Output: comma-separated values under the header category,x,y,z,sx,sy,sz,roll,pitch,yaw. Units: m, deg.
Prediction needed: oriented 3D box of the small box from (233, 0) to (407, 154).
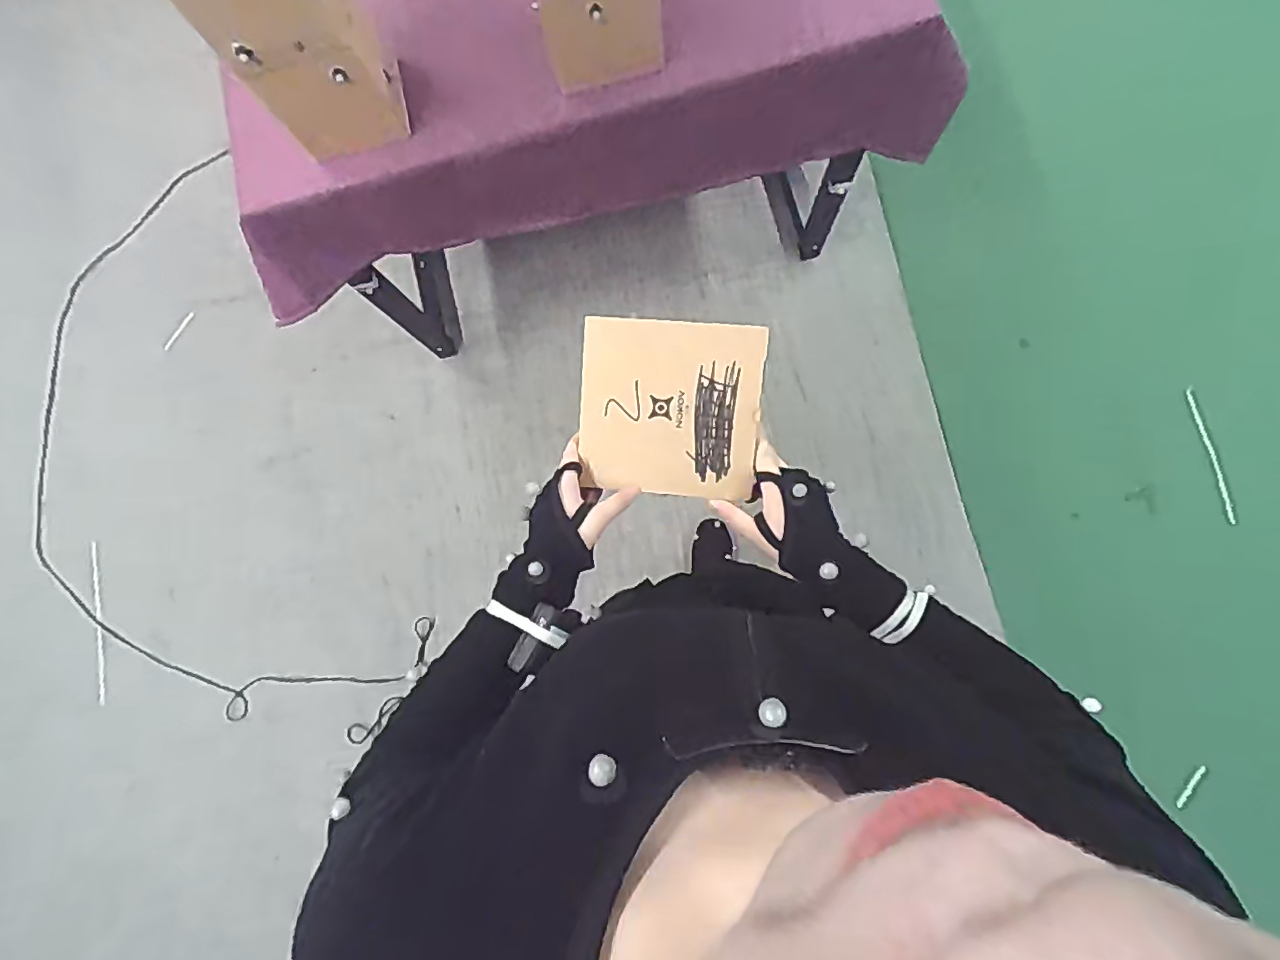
category,x,y,z,sx,sy,sz,roll,pitch,yaw
small box,-0.497,-0.653,0.847,0.179,0.176,0.168,-14,81,1

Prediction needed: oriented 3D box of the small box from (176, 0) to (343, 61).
category,x,y,z,sx,sy,sz,roll,pitch,yaw
small box,-0.506,-0.679,0.686,0.168,0.176,0.179,-14,80,1

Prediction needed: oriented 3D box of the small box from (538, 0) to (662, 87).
category,x,y,z,sx,sy,sz,roll,pitch,yaw
small box,-0.067,-0.752,0.829,0.179,0.176,0.168,-12,82,2
